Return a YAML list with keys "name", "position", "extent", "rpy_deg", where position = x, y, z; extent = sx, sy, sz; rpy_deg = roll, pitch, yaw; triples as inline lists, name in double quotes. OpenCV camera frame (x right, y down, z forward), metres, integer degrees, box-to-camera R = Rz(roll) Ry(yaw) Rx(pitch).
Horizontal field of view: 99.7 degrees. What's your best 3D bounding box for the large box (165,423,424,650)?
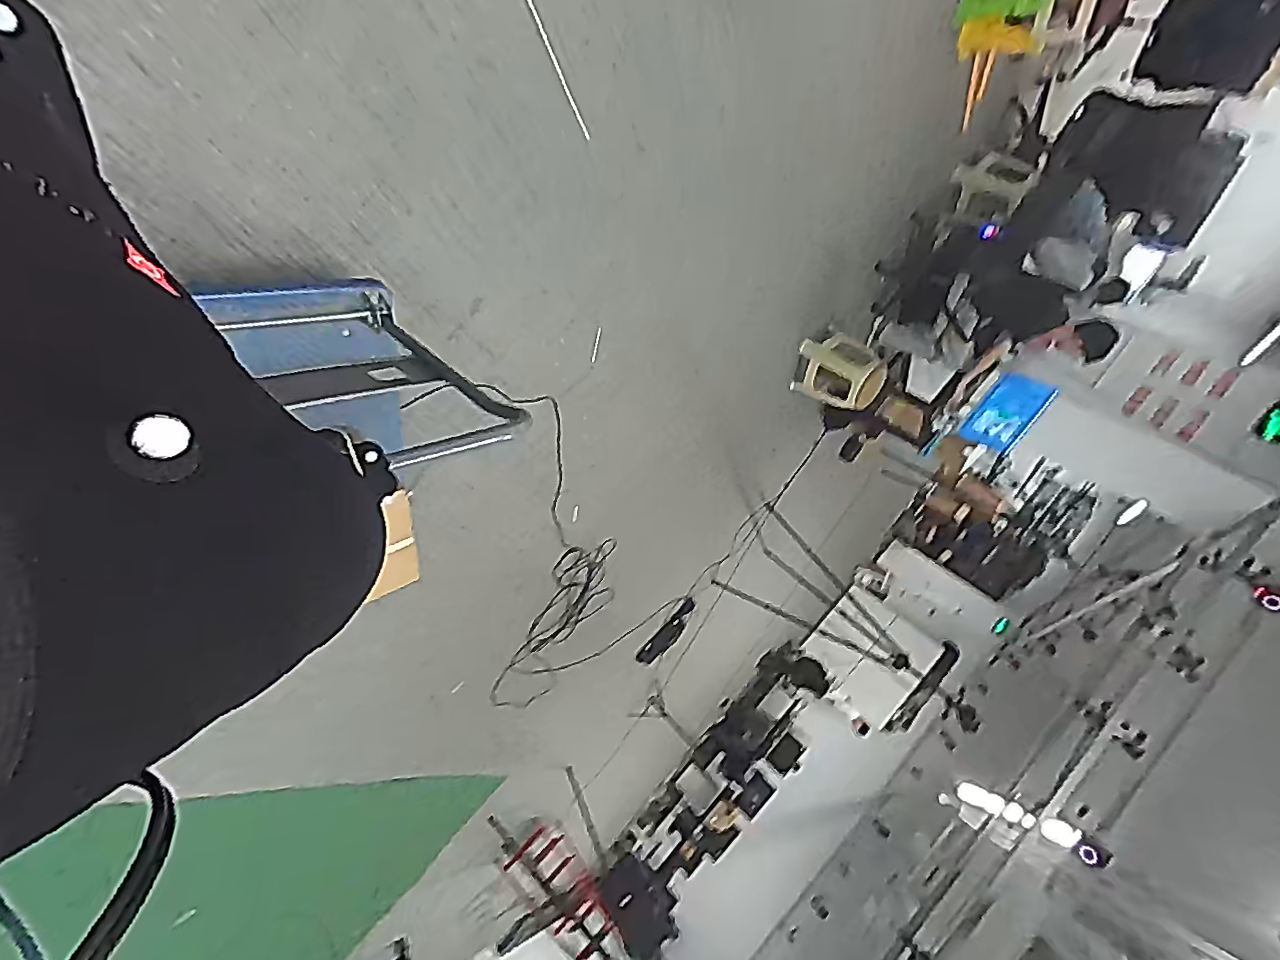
- name: "large box"
  position: [-0.796, 0.113, 1.292]
  extent: [0.408, 0.320, 0.320]
  rpy_deg: [-27, 142, -38]
